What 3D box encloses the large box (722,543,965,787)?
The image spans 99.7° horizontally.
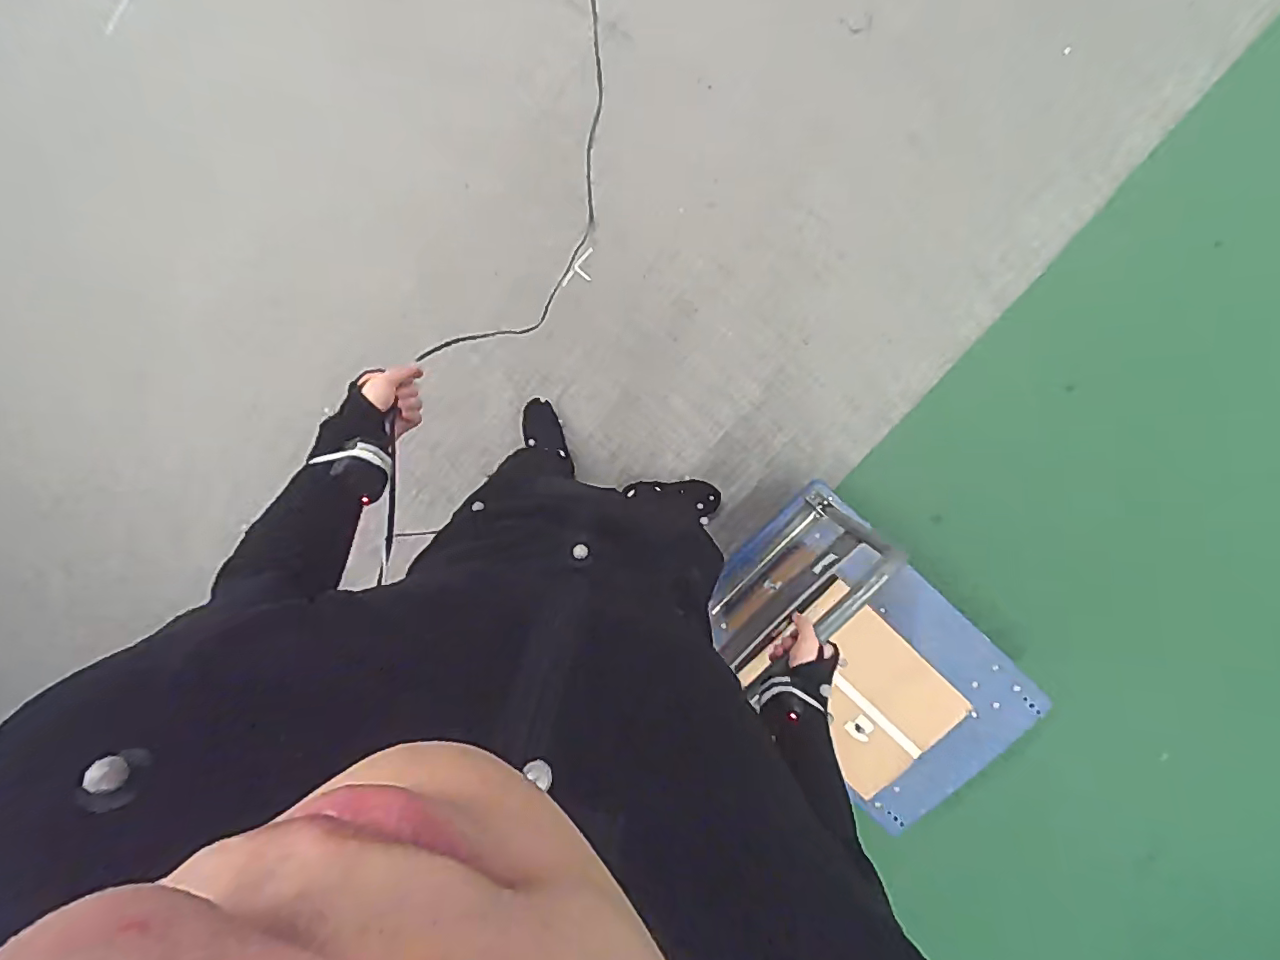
[{"bbox_3d":[0.458,0.420,1.314,0.408,0.320,0.320,44,99,-3],"label":"large box"}]
